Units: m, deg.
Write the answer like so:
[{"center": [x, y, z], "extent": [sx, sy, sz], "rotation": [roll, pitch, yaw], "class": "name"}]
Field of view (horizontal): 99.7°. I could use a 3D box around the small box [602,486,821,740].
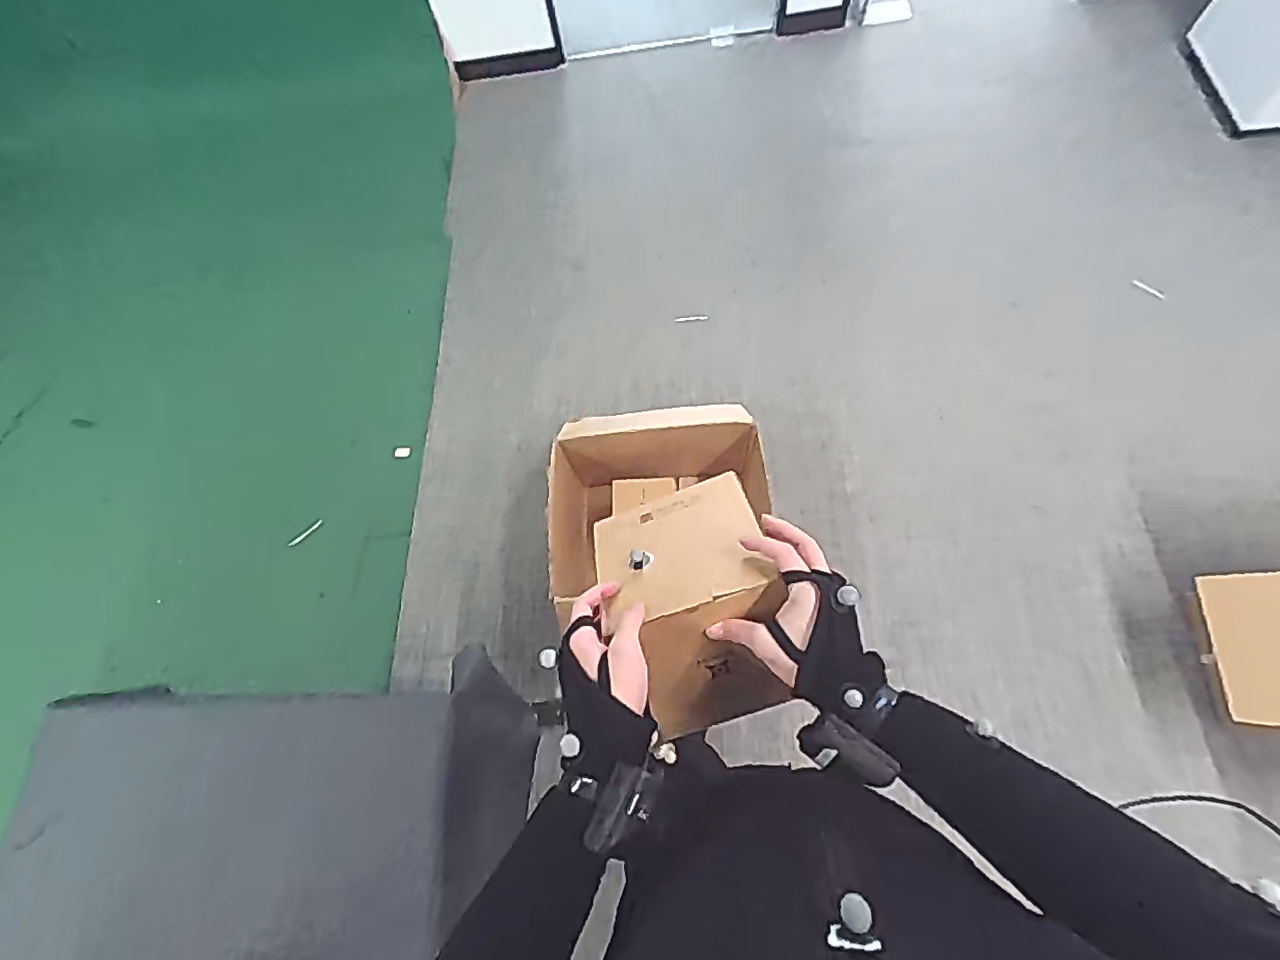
[{"center": [0.066, 0.126, 0.557], "extent": [0.168, 0.179, 0.176], "rotation": [-20, 34, 7], "class": "small box"}]
